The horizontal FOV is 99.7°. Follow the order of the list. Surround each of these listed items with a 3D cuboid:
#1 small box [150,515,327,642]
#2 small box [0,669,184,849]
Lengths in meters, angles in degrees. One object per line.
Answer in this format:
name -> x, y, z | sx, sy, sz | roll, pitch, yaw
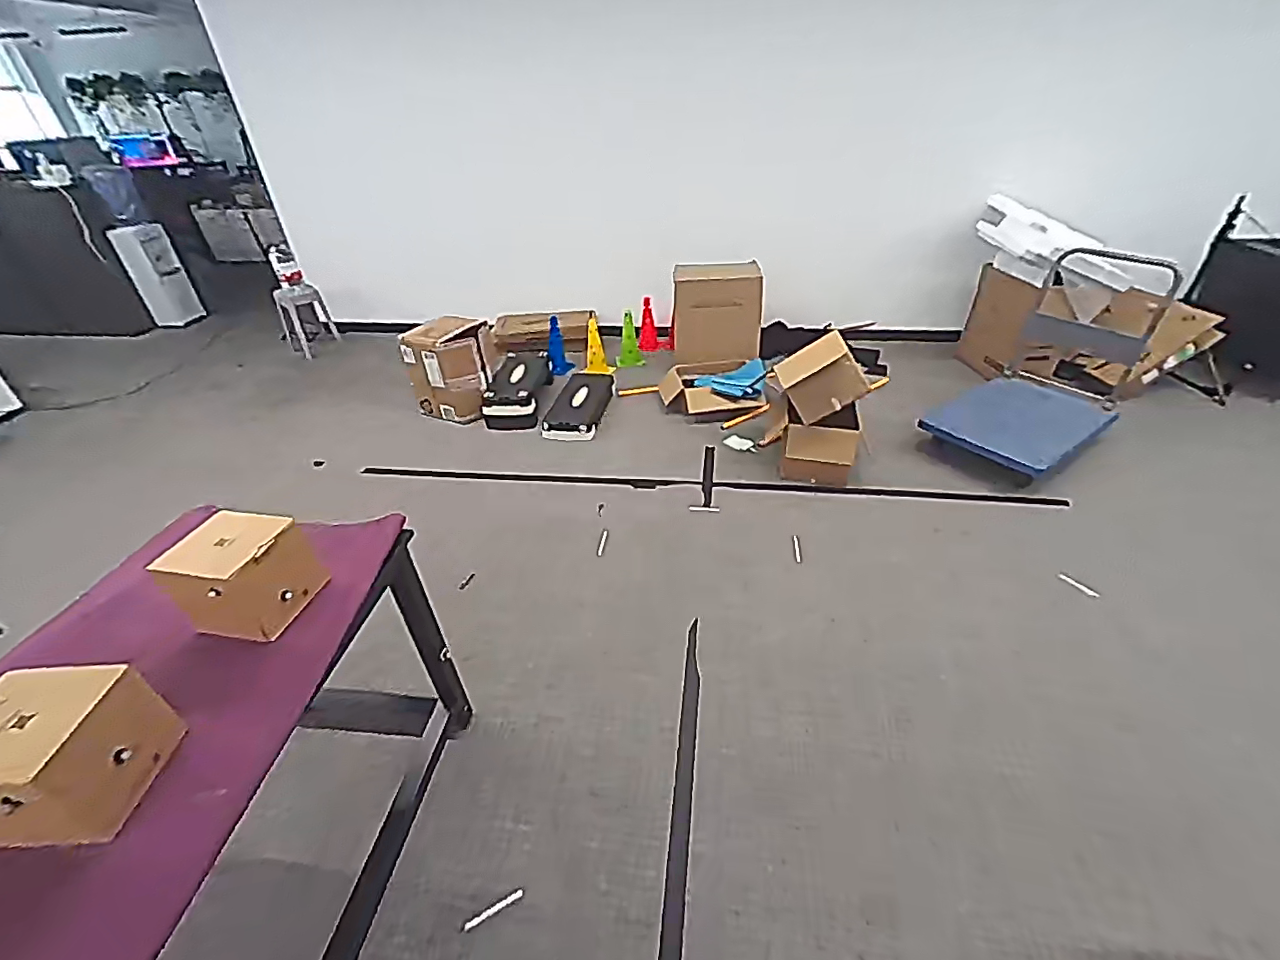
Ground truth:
small box -> -0.746, 0.186, 1.027 | 0.179, 0.176, 0.168 | 4, 36, 11
small box -> -0.802, 0.385, 0.750 | 0.179, 0.176, 0.168 | -3, 35, 0
